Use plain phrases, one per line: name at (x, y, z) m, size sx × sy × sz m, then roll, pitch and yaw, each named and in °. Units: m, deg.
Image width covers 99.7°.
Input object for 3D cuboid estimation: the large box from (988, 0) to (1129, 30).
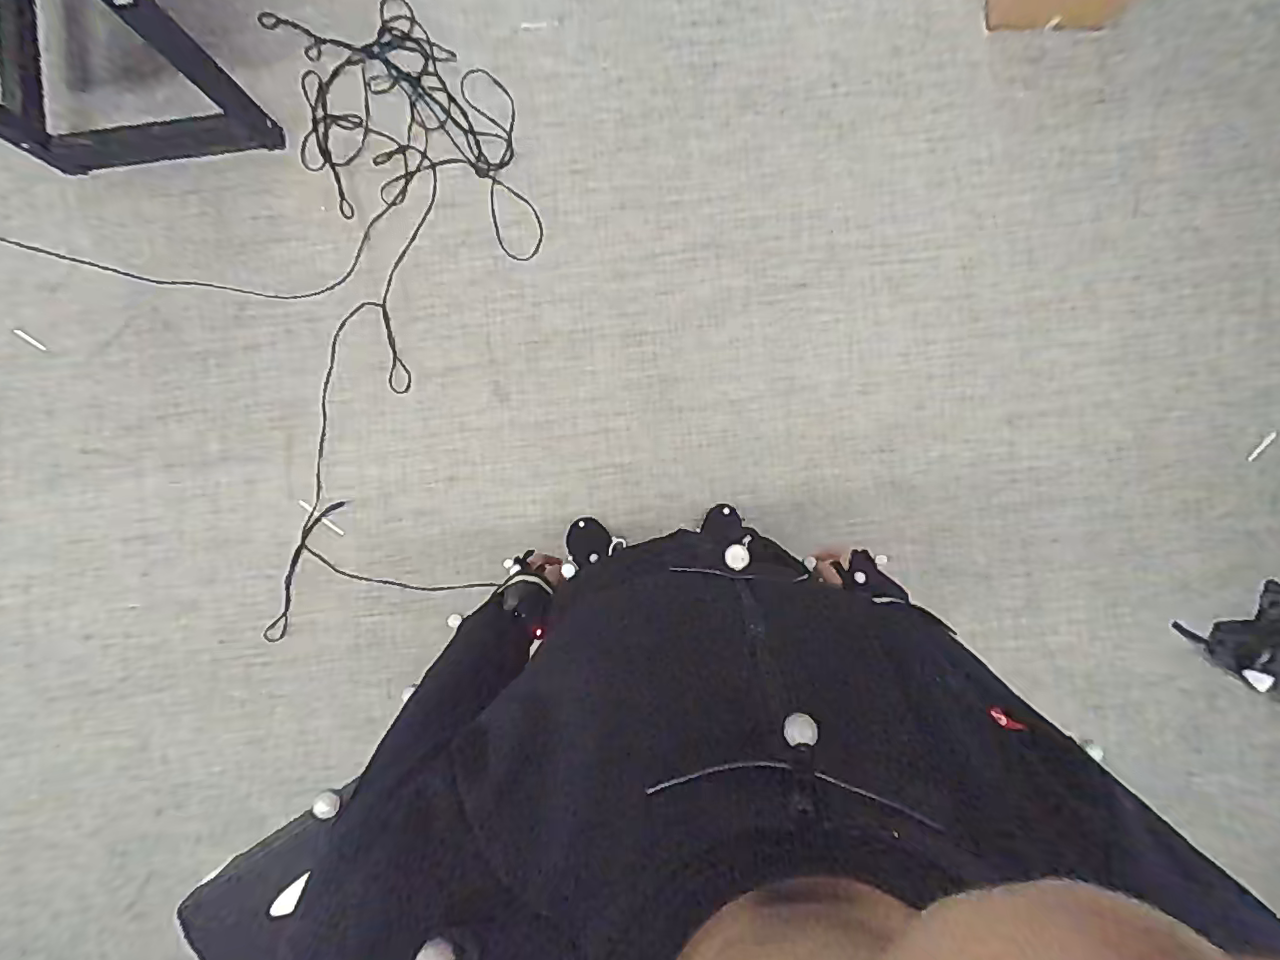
large box at (1.048, -1.370, 1.254) m, size 0.320 × 0.320 × 0.408 m, roll -1°, pitch 90°, yaw 1°
